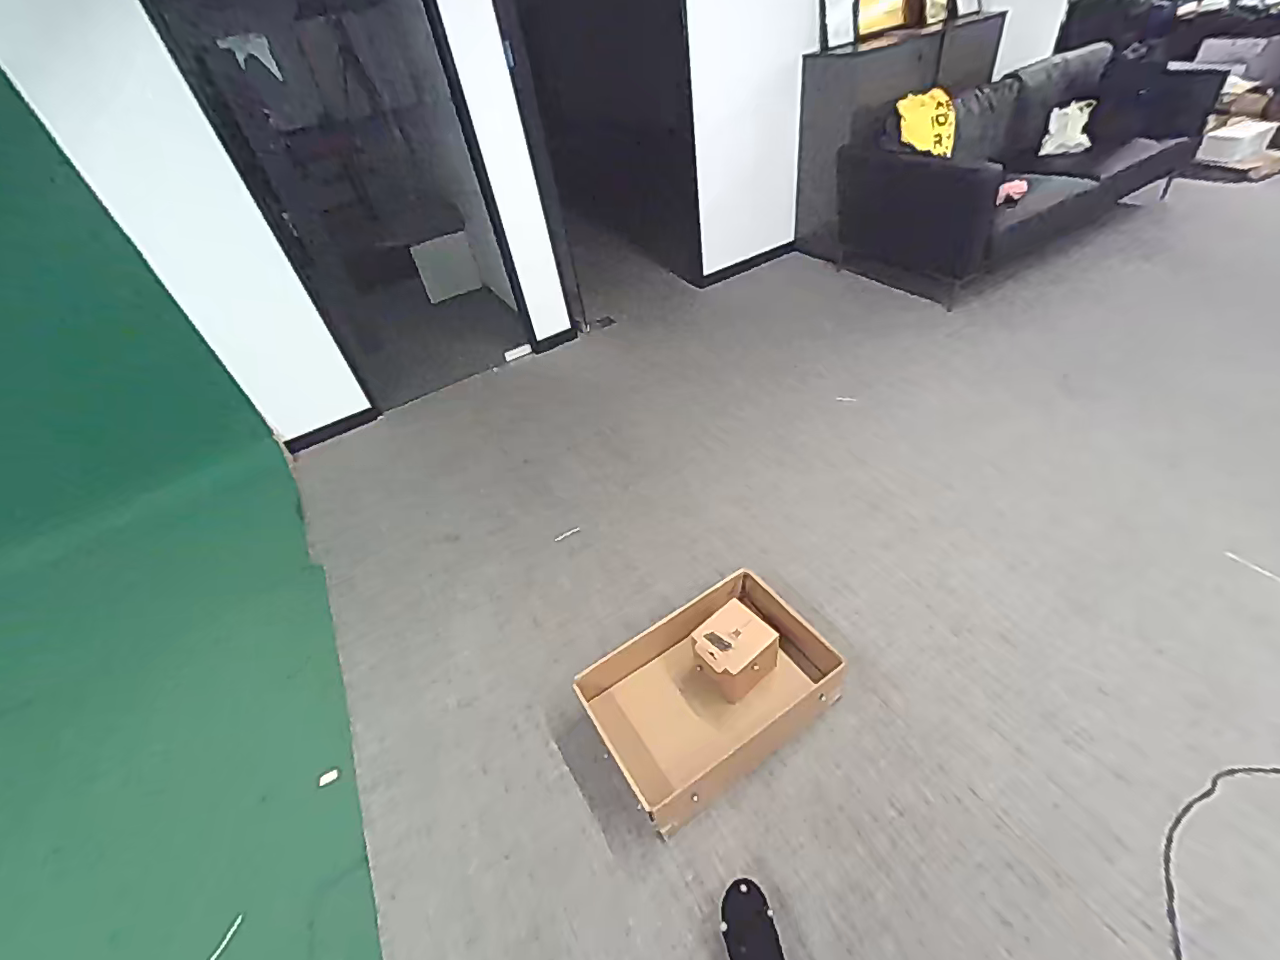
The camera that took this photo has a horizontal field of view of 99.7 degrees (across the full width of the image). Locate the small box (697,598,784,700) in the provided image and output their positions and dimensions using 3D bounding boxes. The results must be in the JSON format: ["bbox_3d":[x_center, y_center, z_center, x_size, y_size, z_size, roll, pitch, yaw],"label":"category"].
[{"bbox_3d":[0.281,0.473,1.503,0.179,0.176,0.168,-34,47,-22],"label":"small box"}]
